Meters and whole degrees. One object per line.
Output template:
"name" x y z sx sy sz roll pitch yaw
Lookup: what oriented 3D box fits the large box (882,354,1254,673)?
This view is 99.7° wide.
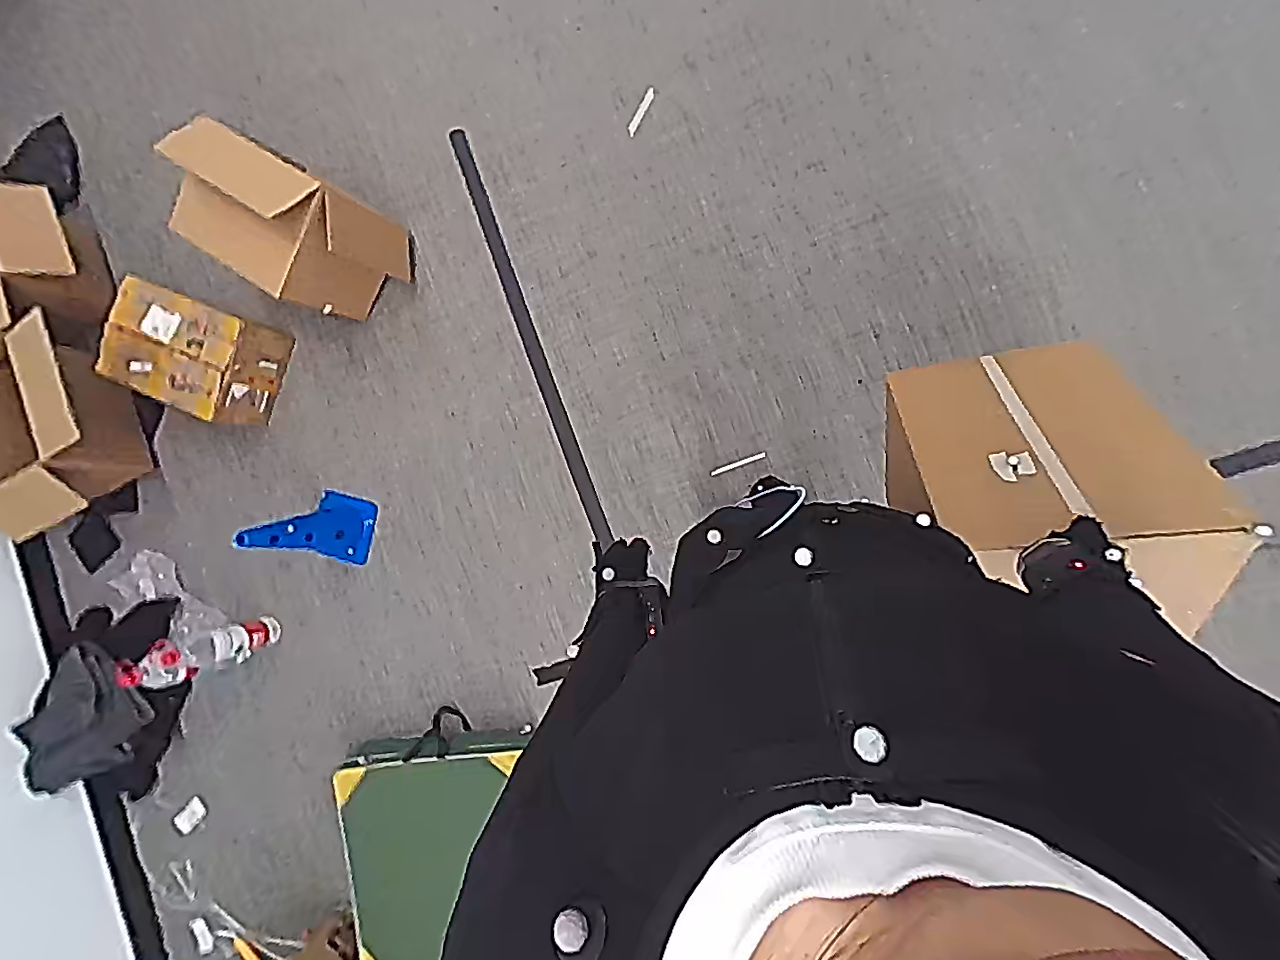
"large box" 0.599 0.054 0.876 0.320 0.320 0.408 -8 43 17
